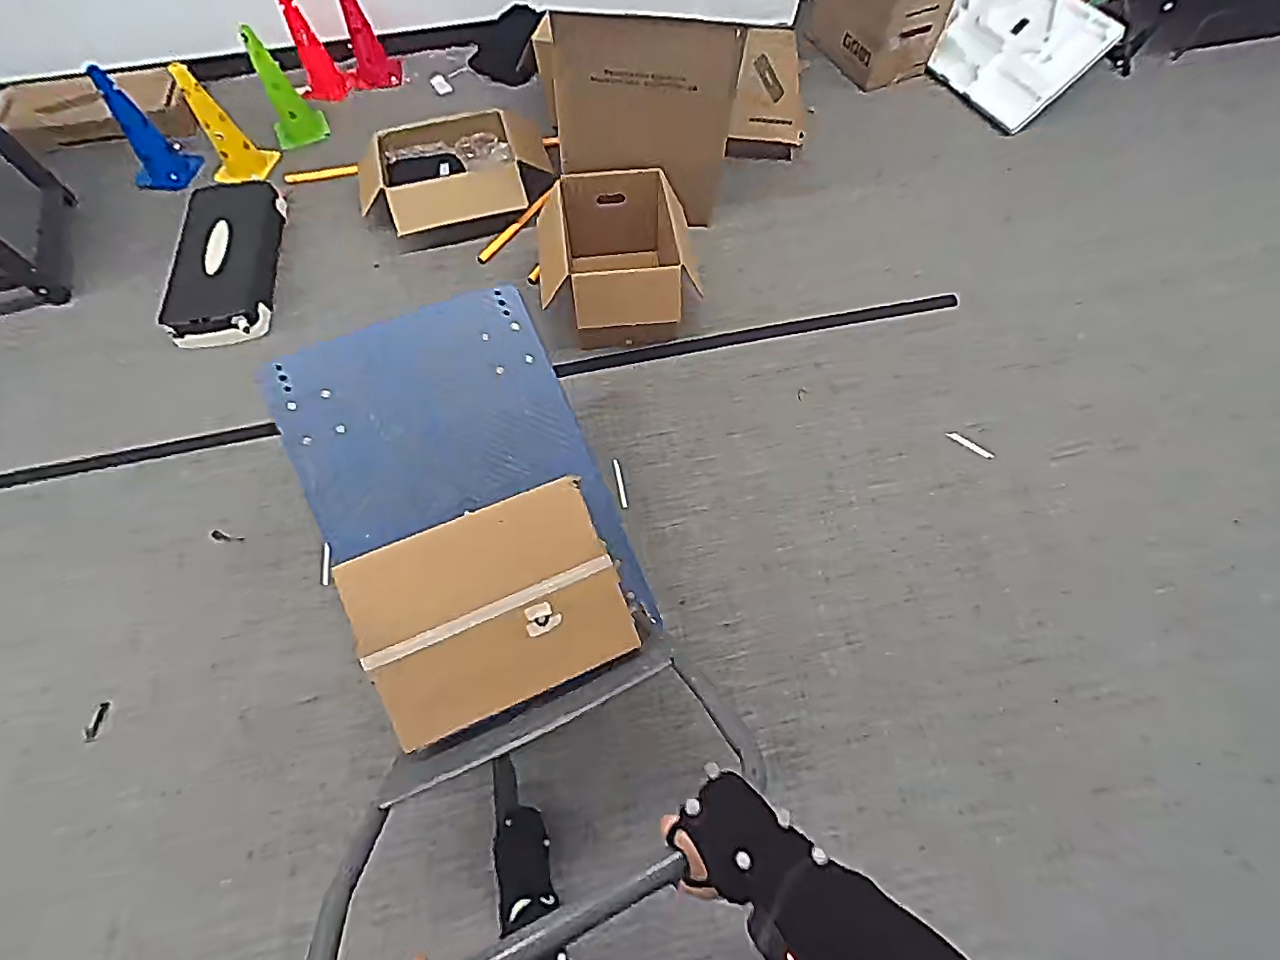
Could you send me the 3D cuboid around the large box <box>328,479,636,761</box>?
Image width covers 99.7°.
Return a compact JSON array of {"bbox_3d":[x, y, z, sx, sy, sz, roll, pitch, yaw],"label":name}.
[{"bbox_3d":[-0.270,0.228,1.007,0.408,0.320,0.320,-23,91,-12],"label":"large box"}]
